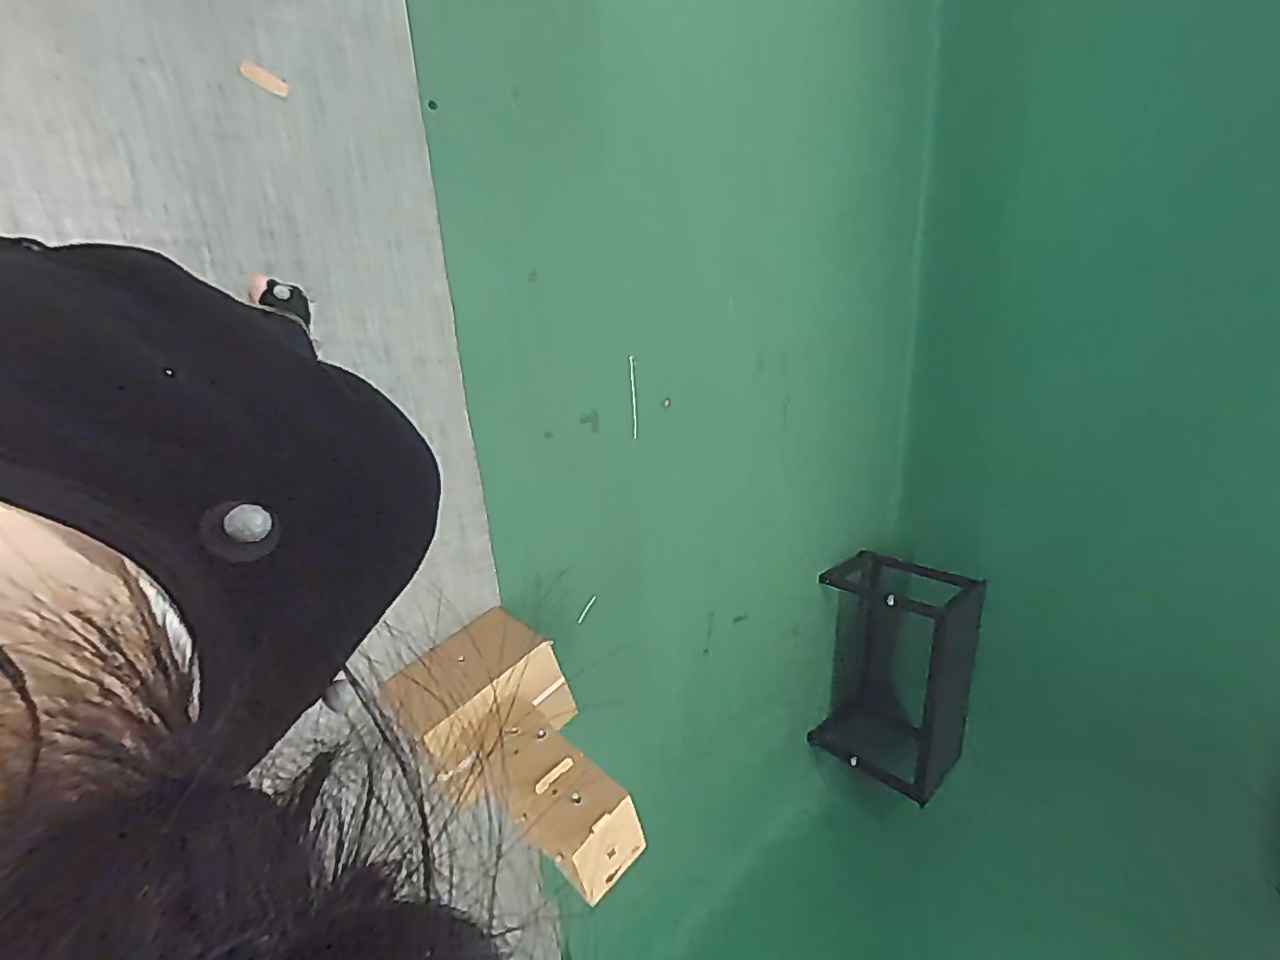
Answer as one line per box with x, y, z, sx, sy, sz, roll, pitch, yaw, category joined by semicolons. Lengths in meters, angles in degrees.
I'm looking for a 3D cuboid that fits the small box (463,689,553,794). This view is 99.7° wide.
-0.341;0.698;1.450;0.179;0.176;0.168;-29;118;-34;small box

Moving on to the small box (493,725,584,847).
-0.238;0.735;1.328;0.168;0.176;0.179;-28;117;-35;small box

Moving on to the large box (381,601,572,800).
-0.487;0.641;1.641;0.408;0.320;0.320;-34;123;-34;large box

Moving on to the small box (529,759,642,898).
-0.125;0.765;1.213;0.168;0.176;0.179;-29;117;-34;small box
